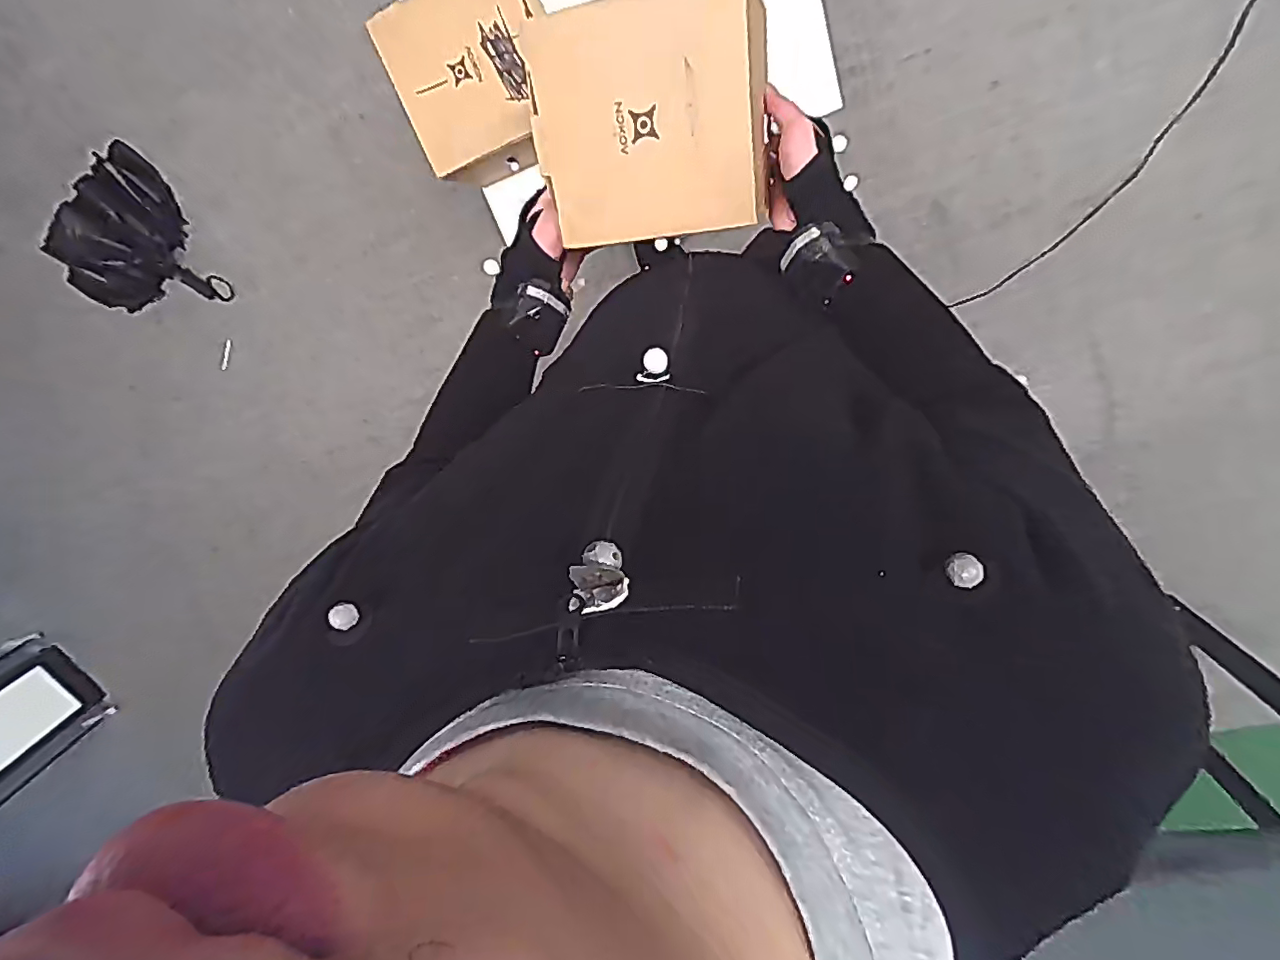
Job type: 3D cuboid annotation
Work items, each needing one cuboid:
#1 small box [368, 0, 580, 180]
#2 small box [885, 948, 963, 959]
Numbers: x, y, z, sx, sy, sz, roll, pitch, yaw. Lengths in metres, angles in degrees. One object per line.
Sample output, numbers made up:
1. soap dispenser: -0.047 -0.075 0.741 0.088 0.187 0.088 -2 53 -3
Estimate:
1. small box: -0.185 -0.495 0.672 0.179 0.176 0.168 -16 113 13
2. small box: 0.706 1.252 1.285 0.179 0.176 0.168 -12 113 10
